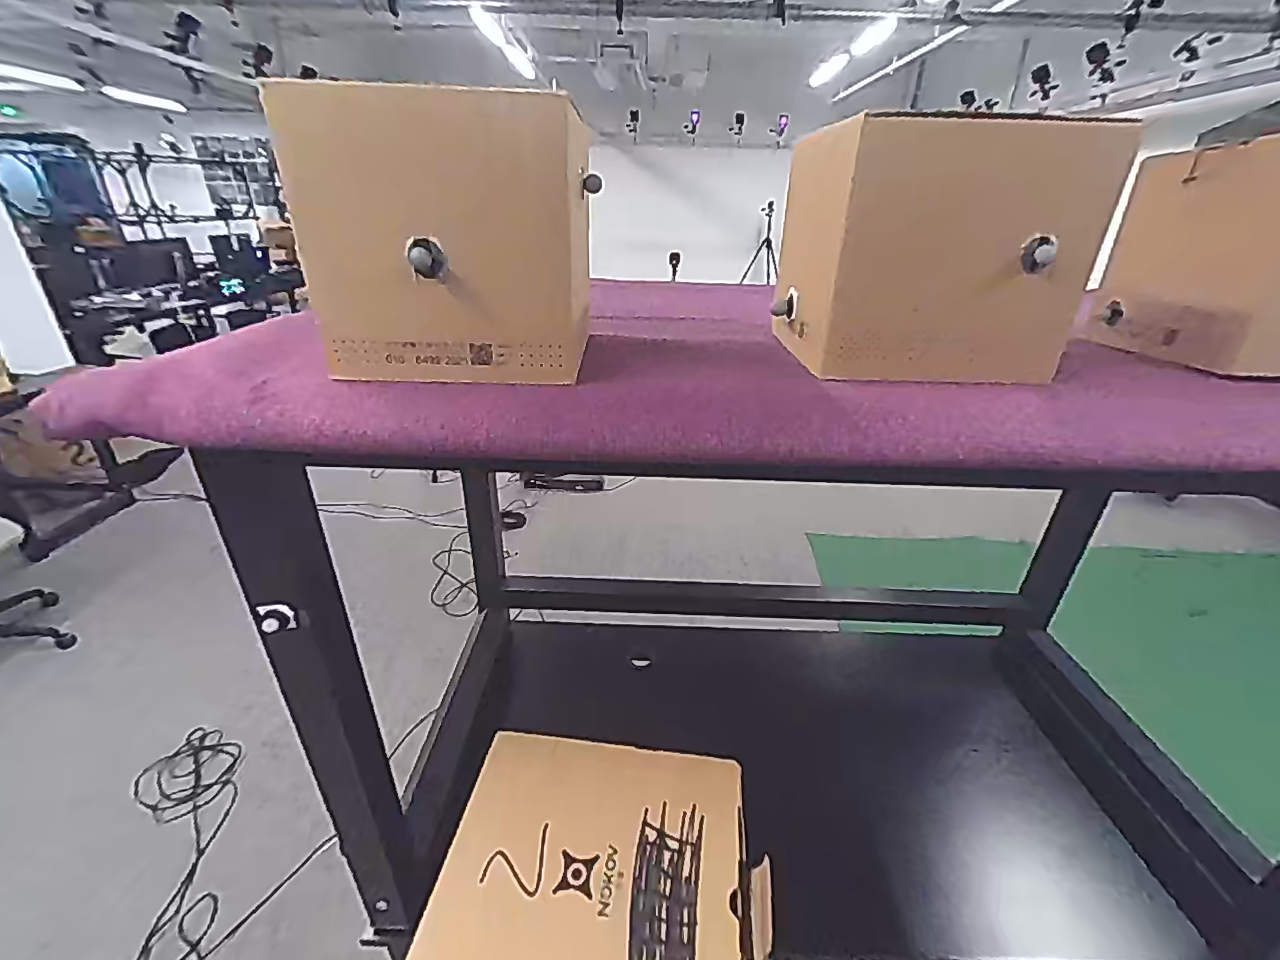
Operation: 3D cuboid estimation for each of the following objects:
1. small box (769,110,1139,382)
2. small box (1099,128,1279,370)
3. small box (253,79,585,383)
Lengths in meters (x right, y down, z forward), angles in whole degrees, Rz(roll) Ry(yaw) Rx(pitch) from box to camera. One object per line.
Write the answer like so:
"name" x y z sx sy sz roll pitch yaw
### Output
"small box" 0.213 -0.180 0.428 0.179 0.176 0.168 0 27 -1
"small box" 0.536 -0.188 0.450 0.179 0.176 0.168 2 25 2
"small box" -0.129 -0.176 0.399 0.168 0.176 0.179 1 28 -2
